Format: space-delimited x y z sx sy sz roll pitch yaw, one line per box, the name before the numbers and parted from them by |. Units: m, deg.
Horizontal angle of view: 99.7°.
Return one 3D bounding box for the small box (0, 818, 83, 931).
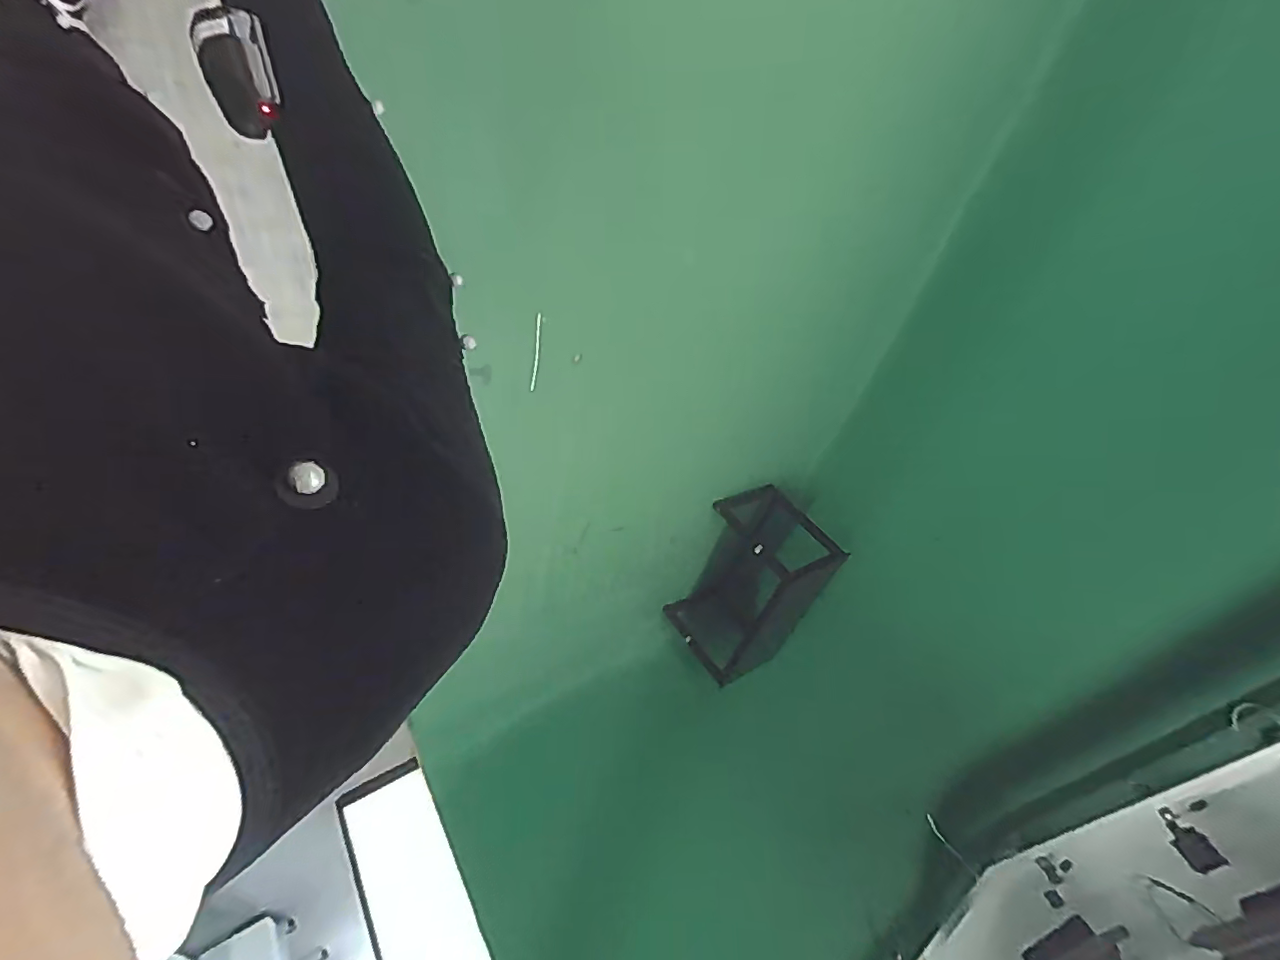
small box | -1.672 1.084 1.498 0.168 0.176 0.179 -9 135 -42
